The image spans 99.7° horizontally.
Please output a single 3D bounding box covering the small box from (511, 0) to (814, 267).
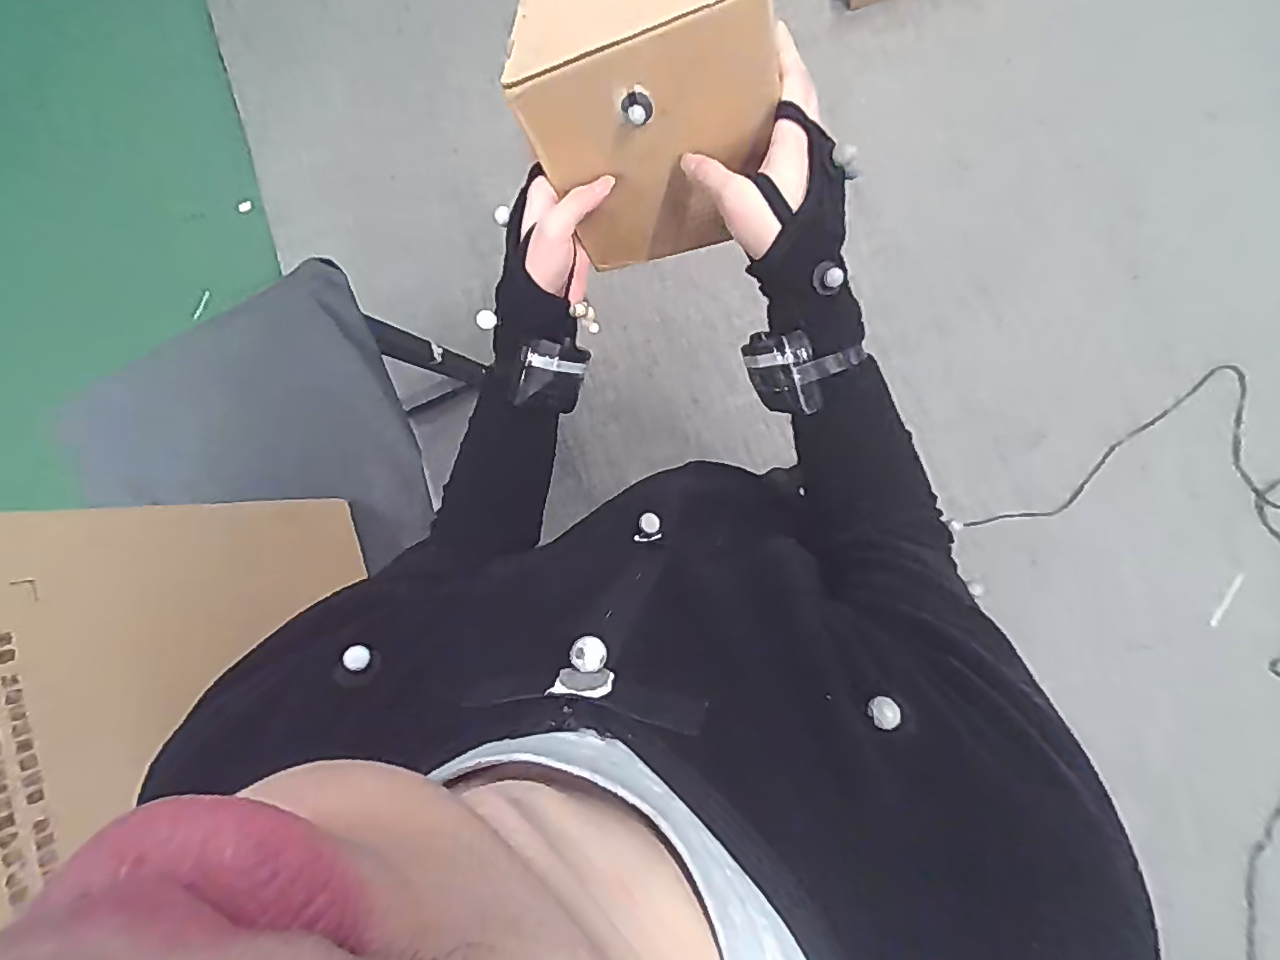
[{"bbox_3d":[0.030,-0.293,0.413,0.179,0.176,0.168,-8,62,17],"label":"small box"}]
